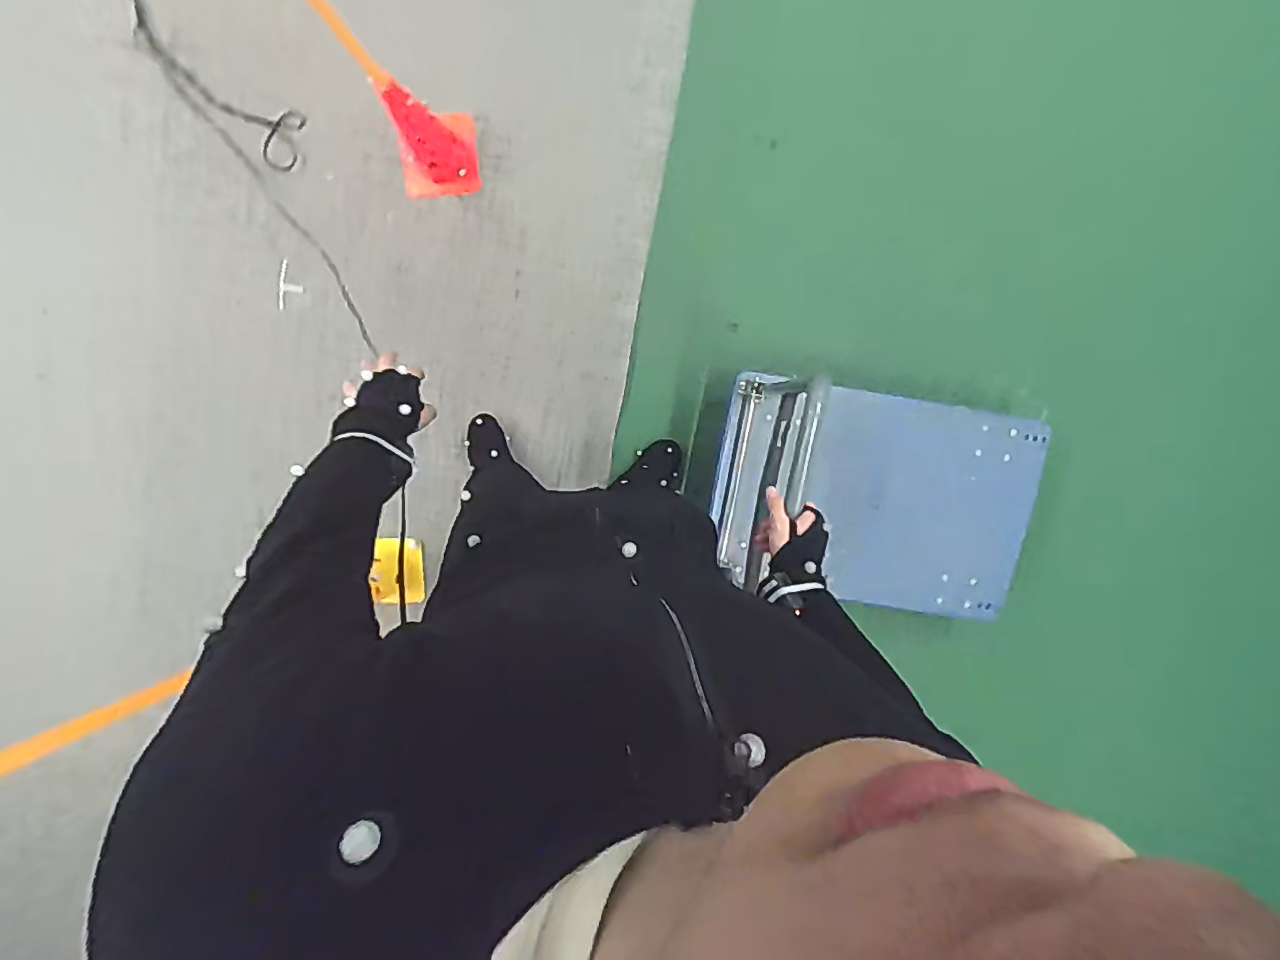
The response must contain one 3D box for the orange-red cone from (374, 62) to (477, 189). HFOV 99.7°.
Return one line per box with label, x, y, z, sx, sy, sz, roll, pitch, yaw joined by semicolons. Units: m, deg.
orange-red cone;-0.532;-0.859;1.274;0.198;0.360;0.199;-4;98;-2
